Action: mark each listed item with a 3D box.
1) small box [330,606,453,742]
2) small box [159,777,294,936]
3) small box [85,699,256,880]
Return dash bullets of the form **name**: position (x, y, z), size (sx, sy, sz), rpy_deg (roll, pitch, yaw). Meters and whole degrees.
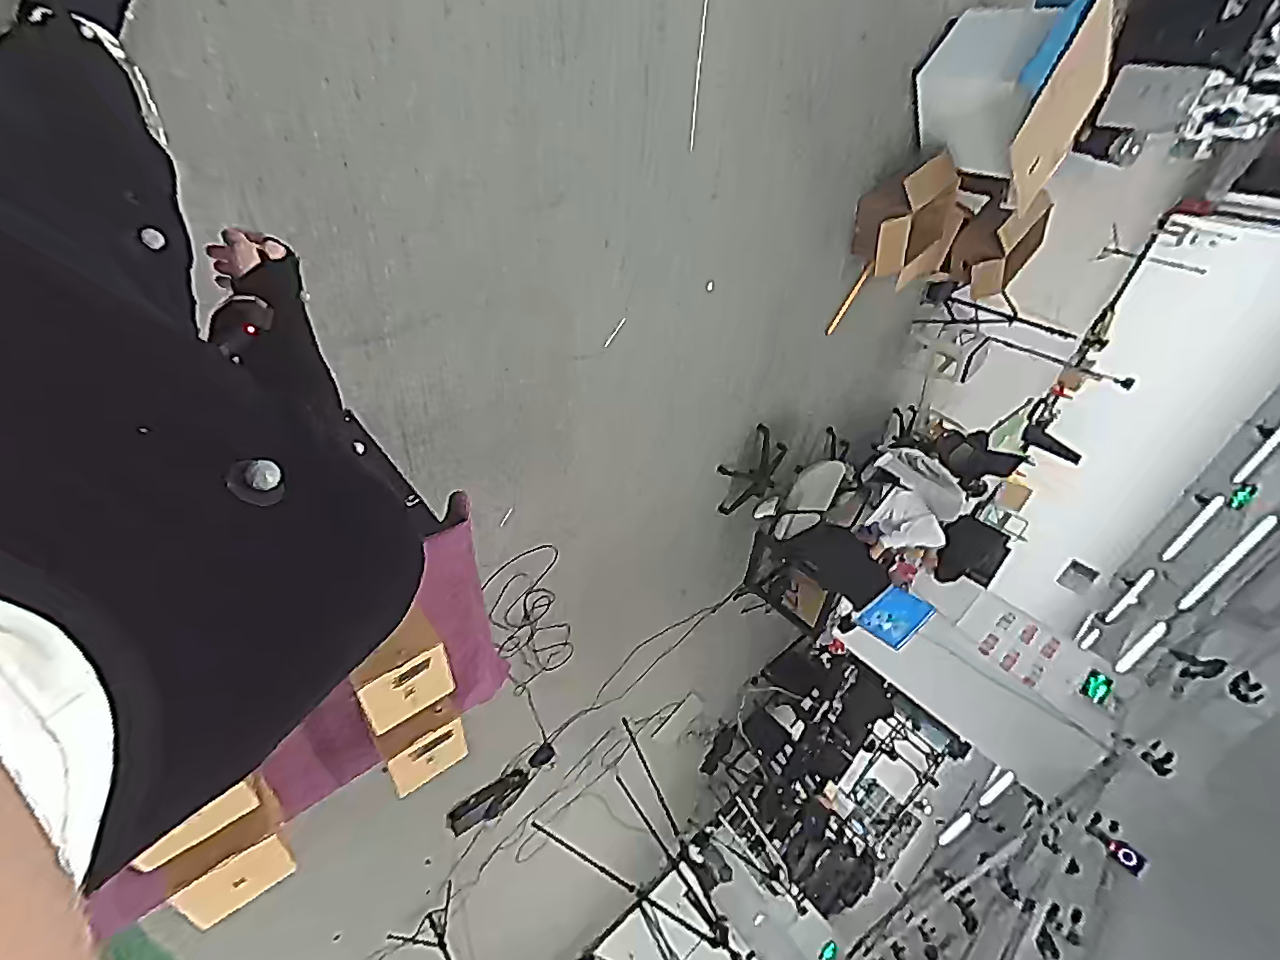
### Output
- **small box**: position (-0.508, 0.384, 1.109), size (0.168, 0.176, 0.179), rpy_deg (-25, 138, -32)
- **small box**: position (-0.817, 0.733, 1.069), size (0.168, 0.176, 0.179), rpy_deg (-23, 134, -35)
- **small box**: position (-0.784, 0.510, 0.910), size (0.168, 0.176, 0.179), rpy_deg (-24, 137, -35)
